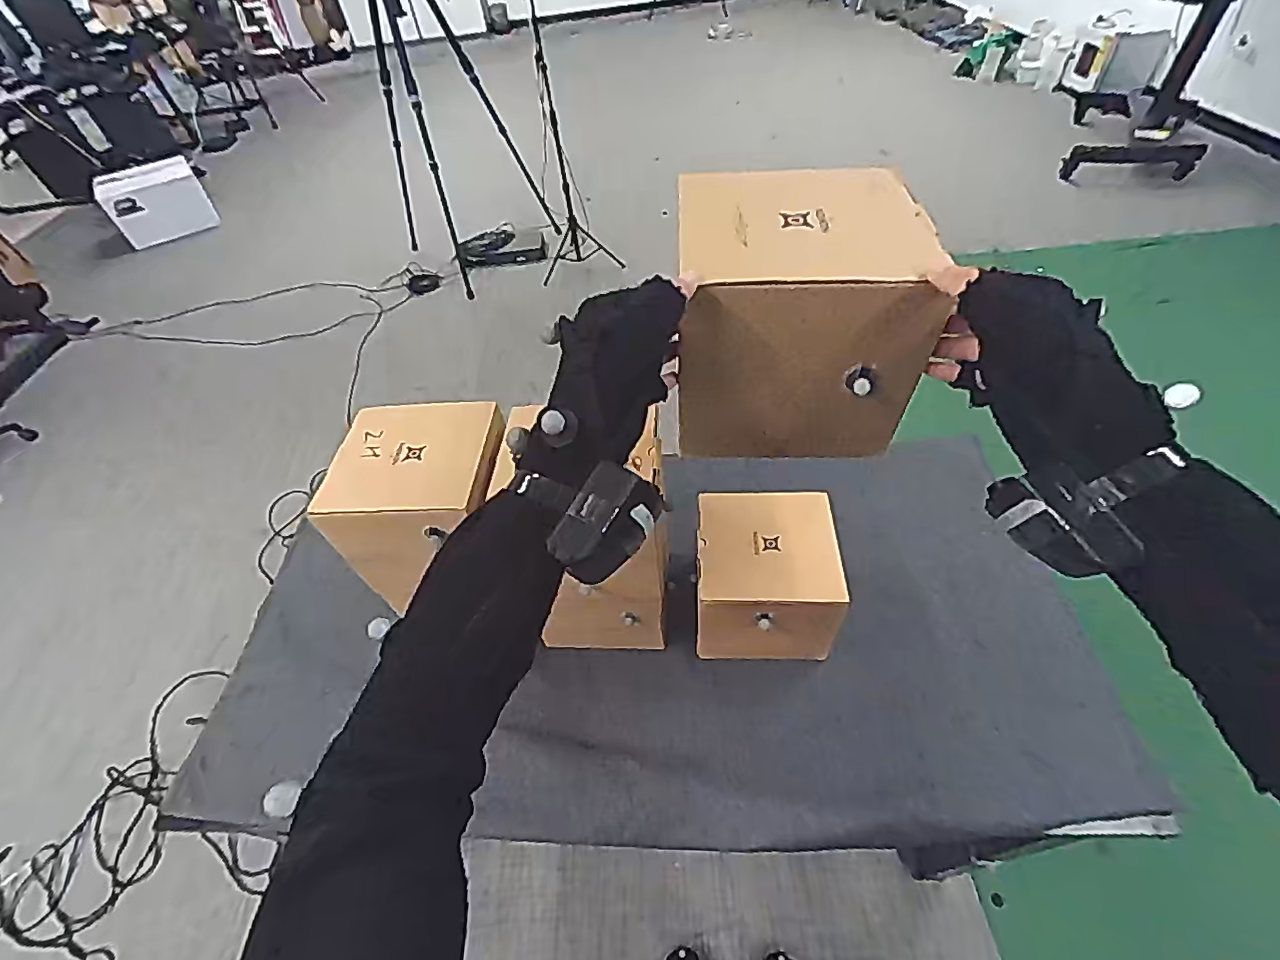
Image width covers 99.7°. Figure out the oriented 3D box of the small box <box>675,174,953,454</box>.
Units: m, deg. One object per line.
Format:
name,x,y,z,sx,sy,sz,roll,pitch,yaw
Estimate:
small box,0.119,-0.134,0.456,0.179,0.176,0.168,0,50,4
